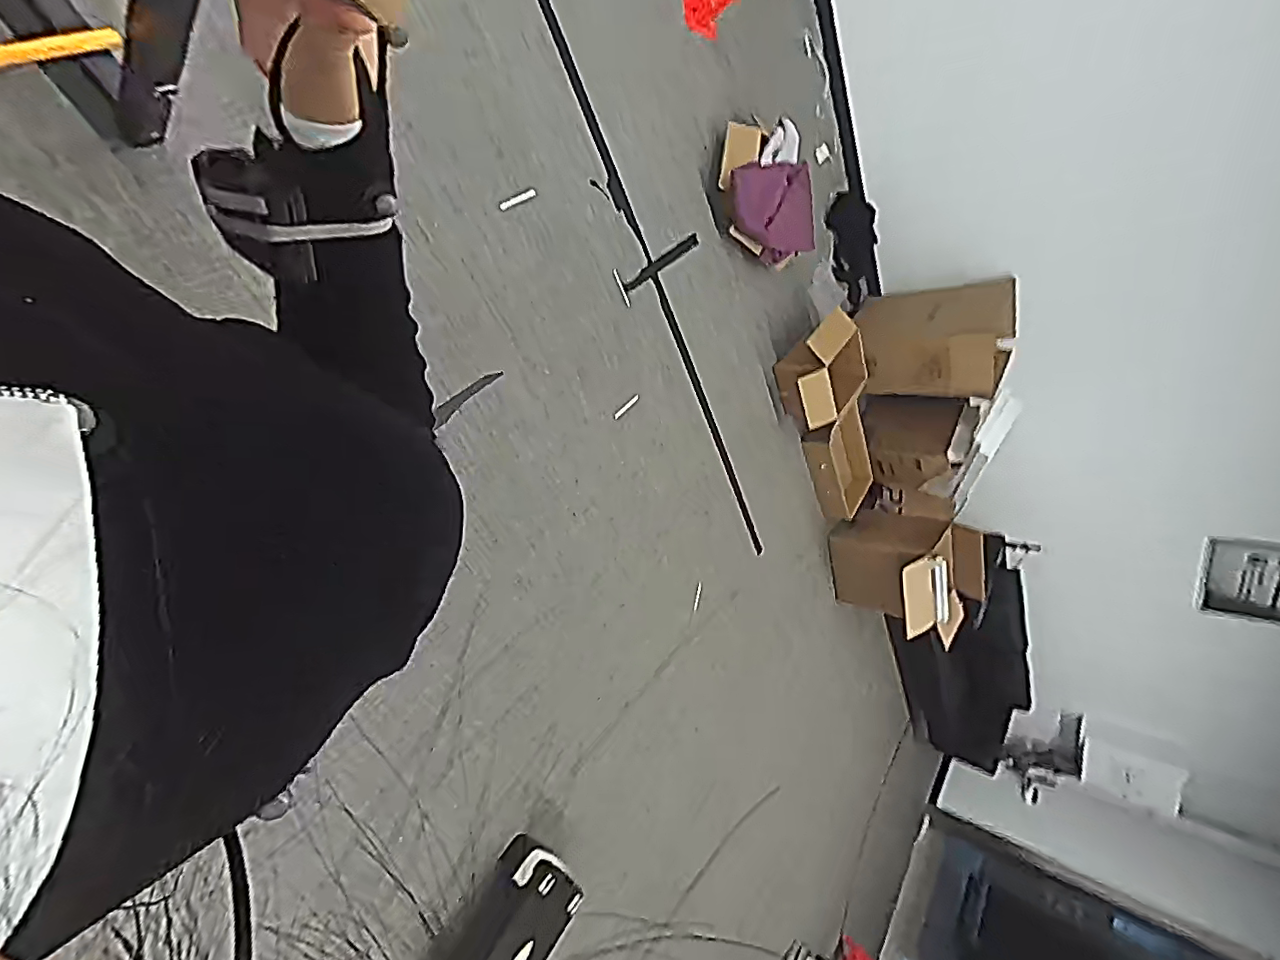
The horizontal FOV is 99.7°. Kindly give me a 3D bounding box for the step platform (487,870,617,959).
[{"bbox_3d":[-0.371,1.576,1.614,0.684,0.204,0.286,-48,127,-30],"label":"step platform"}]
